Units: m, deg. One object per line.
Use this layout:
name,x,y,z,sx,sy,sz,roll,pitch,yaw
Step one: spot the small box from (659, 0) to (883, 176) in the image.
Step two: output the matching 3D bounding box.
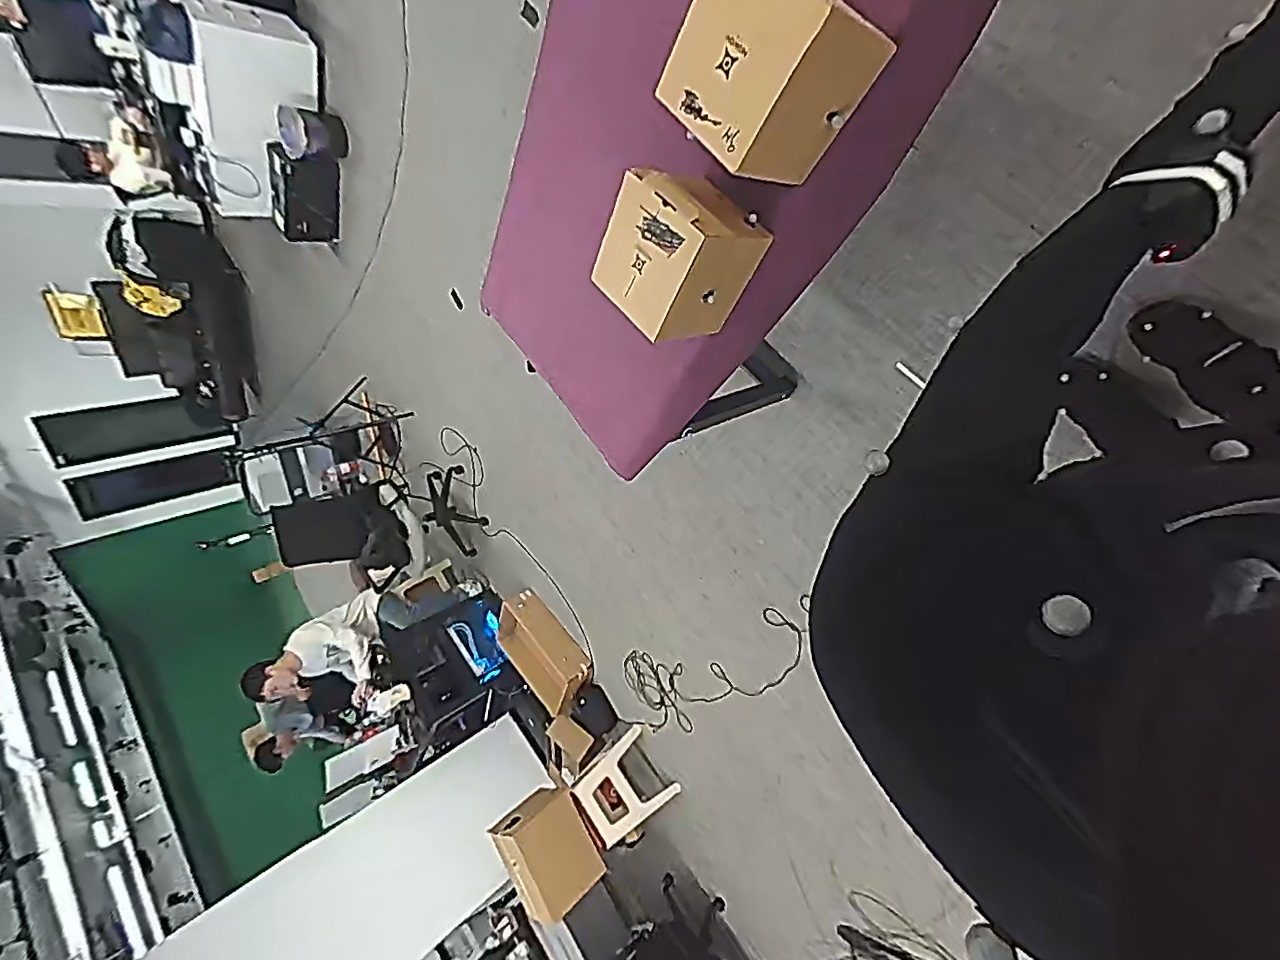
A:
small box,0.162,-0.502,0.652,0.168,0.176,0.179,54,136,16

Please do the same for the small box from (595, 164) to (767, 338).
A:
small box,0.065,-0.345,0.822,0.168,0.176,0.179,51,137,20
